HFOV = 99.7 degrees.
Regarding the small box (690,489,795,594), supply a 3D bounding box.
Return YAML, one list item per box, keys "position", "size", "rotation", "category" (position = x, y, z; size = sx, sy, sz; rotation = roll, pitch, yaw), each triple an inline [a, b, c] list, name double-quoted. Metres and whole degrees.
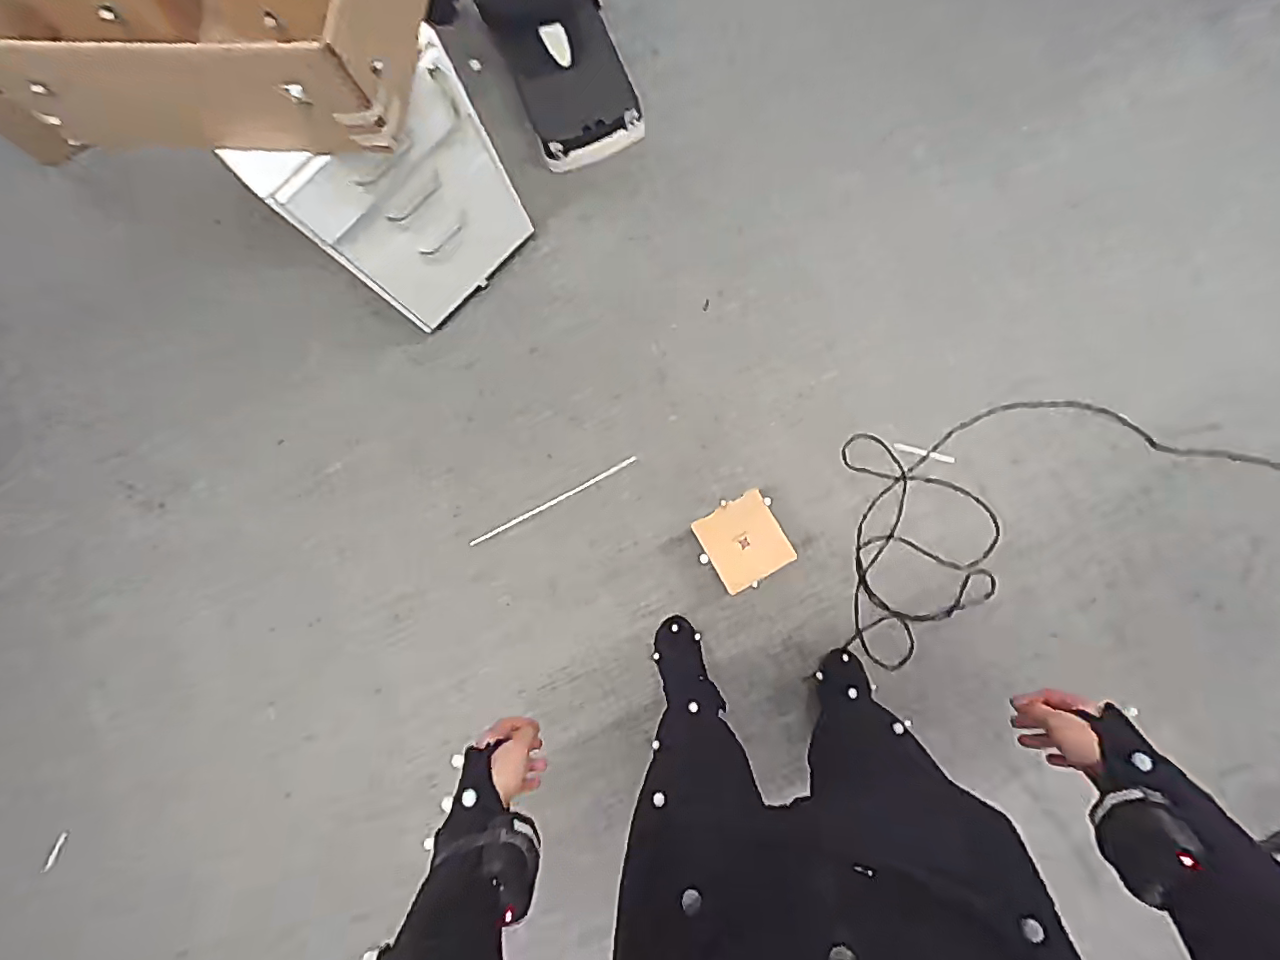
- position: [0.229, 0.139, 1.238]
  size: [0.168, 0.176, 0.179]
  rotation: [-31, 80, 2]
  category: "small box"
